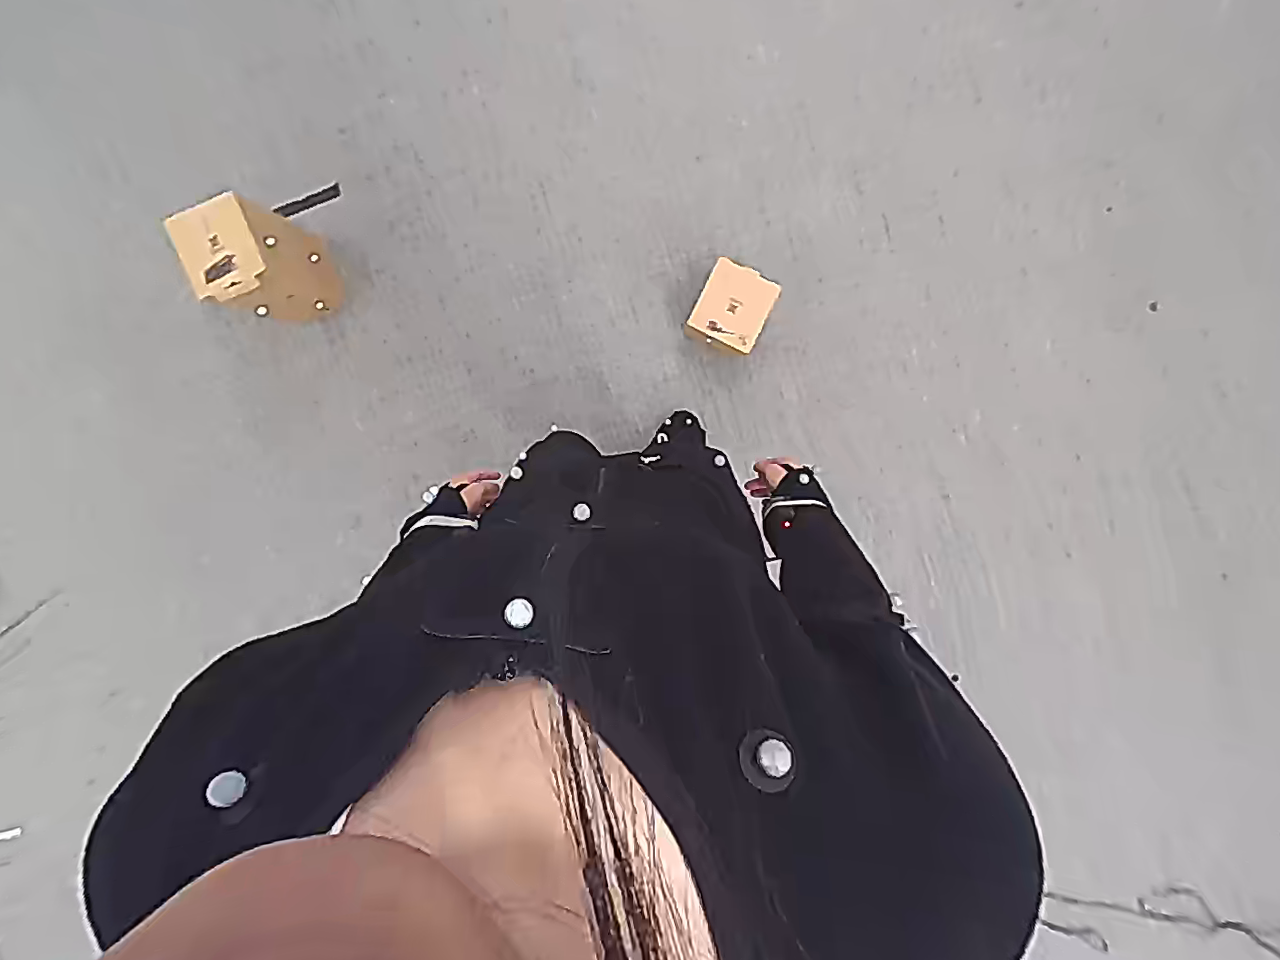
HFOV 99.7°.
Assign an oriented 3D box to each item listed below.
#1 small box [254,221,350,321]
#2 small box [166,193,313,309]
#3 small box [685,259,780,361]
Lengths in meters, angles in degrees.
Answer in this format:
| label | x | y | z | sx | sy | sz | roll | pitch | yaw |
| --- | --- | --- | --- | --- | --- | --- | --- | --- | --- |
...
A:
| label | x | y | z | sx | sy | sz | roll | pitch | yaw |
| --- | --- | --- | --- | --- | --- | --- | --- | --- | --- |
| small box | -0.877 | -0.515 | 1.367 | 0.168 | 0.176 | 0.179 | -22 | 95 | 3 |
| small box | -0.876 | -0.495 | 1.204 | 0.168 | 0.176 | 0.179 | -21 | 96 | 4 |
| small box | 0.220 | -0.414 | 1.350 | 0.168 | 0.176 | 0.179 | 26 | 97 | -3 |
